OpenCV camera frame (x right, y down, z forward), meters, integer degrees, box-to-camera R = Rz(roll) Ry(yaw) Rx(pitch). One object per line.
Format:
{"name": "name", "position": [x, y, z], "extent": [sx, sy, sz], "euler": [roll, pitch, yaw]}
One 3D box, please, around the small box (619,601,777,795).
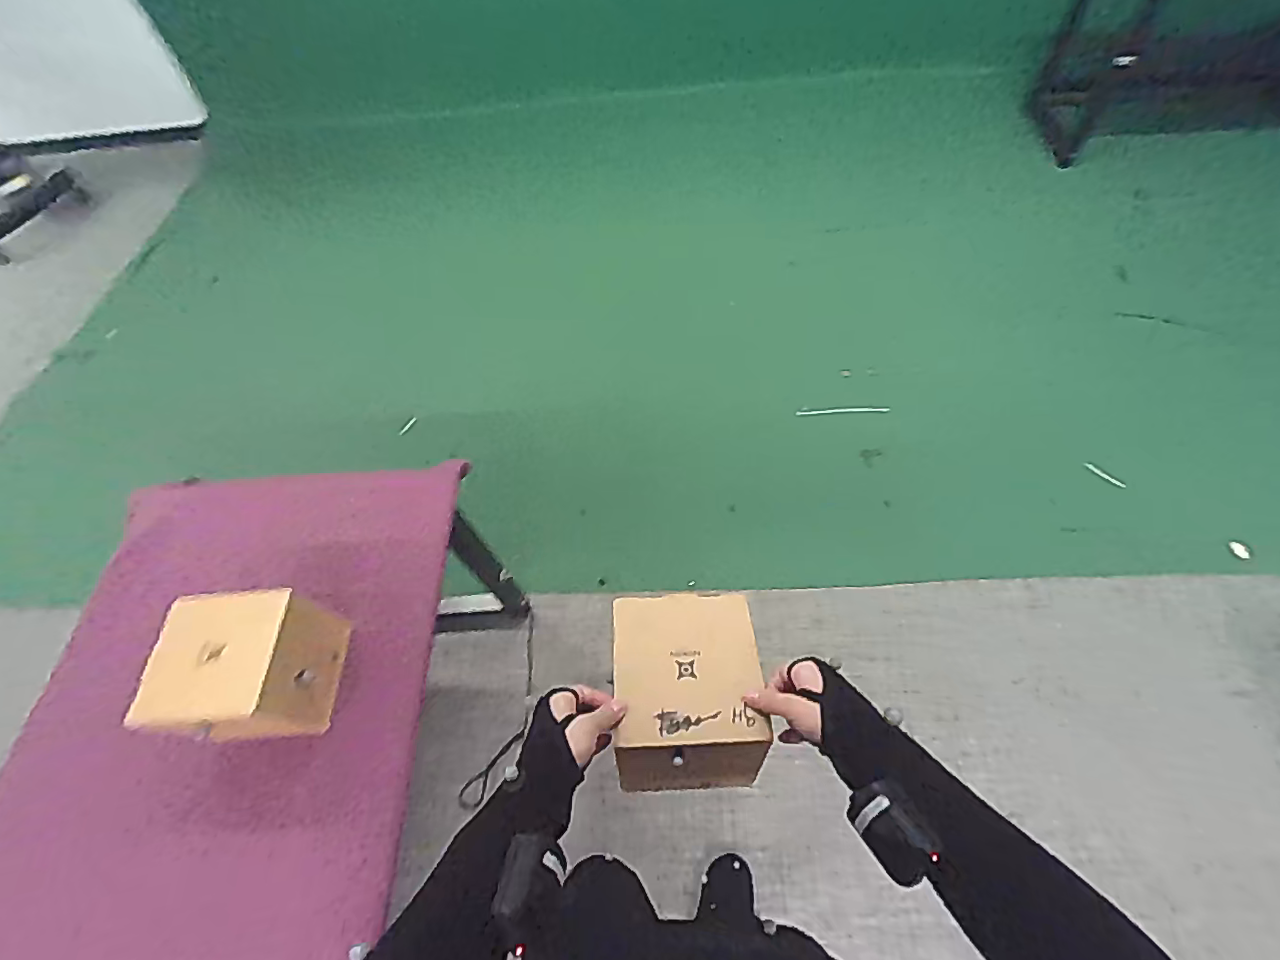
{"name": "small box", "position": [0.059, 0.268, 0.666], "extent": [0.168, 0.176, 0.179], "euler": [-1, 47, 0]}

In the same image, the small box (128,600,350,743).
{"name": "small box", "position": [-0.563, 0.285, 0.792], "extent": [0.179, 0.176, 0.168], "euler": [-6, 59, 4]}
